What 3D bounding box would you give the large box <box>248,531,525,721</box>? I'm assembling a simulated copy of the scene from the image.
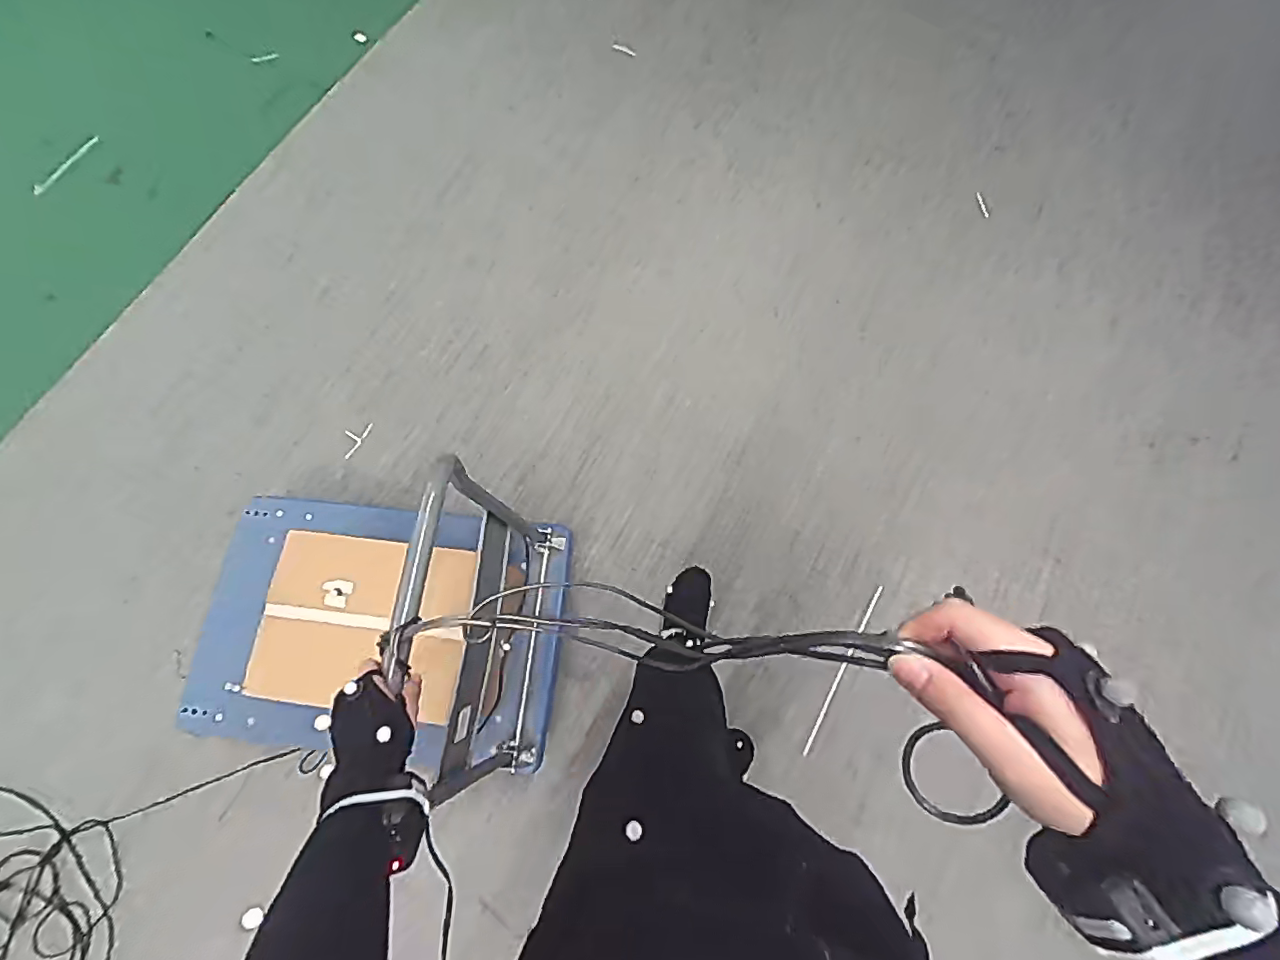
[{"bbox_3d":[-0.493,0.301,1.147,0.408,0.320,0.320,5,74,5],"label":"large box"}]
